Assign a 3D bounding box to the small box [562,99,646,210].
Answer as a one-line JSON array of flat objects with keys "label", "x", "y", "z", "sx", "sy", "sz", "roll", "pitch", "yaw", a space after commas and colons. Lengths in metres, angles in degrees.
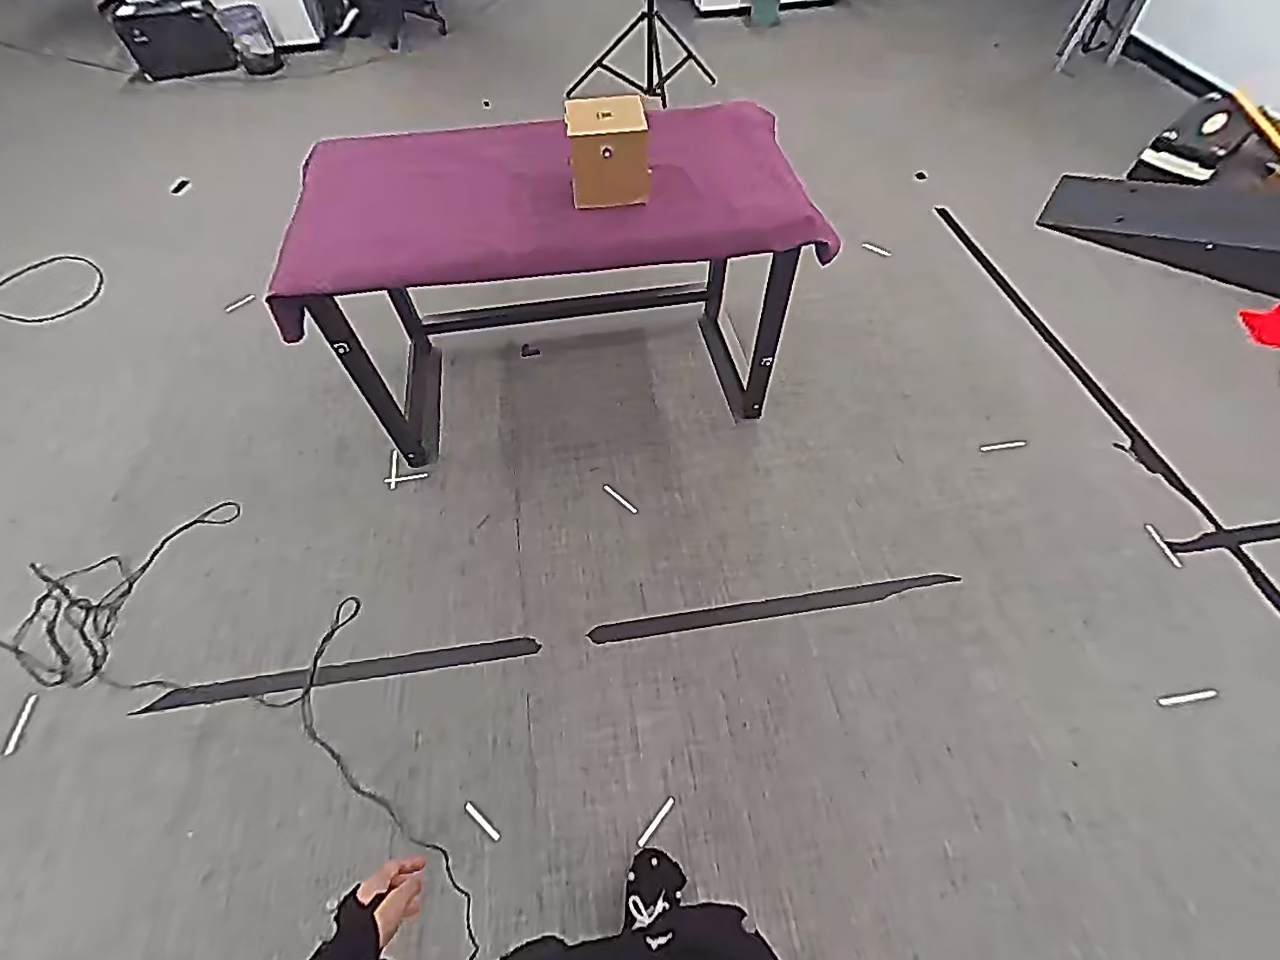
[{"label": "small box", "x": -0.082, "y": -0.756, "z": 1.264, "sx": 0.179, "sy": 0.176, "sz": 0.168, "roll": -7, "pitch": 58, "yaw": -4}]
